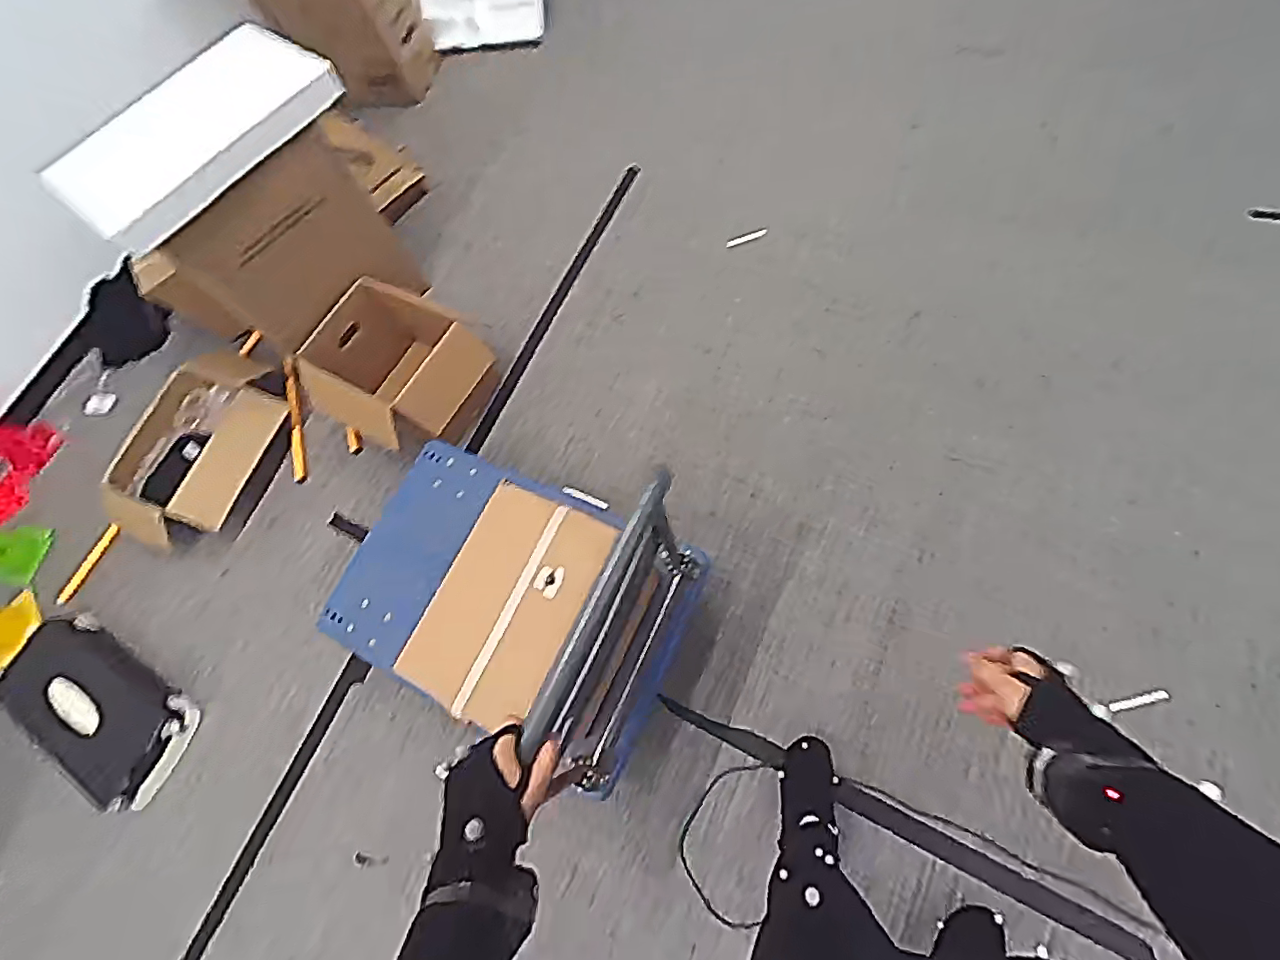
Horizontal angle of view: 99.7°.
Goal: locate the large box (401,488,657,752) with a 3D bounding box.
[{"bbox_3d":[-0.200,0.293,1.135,0.320,0.320,0.408,21,73,19],"label":"large box"}]
